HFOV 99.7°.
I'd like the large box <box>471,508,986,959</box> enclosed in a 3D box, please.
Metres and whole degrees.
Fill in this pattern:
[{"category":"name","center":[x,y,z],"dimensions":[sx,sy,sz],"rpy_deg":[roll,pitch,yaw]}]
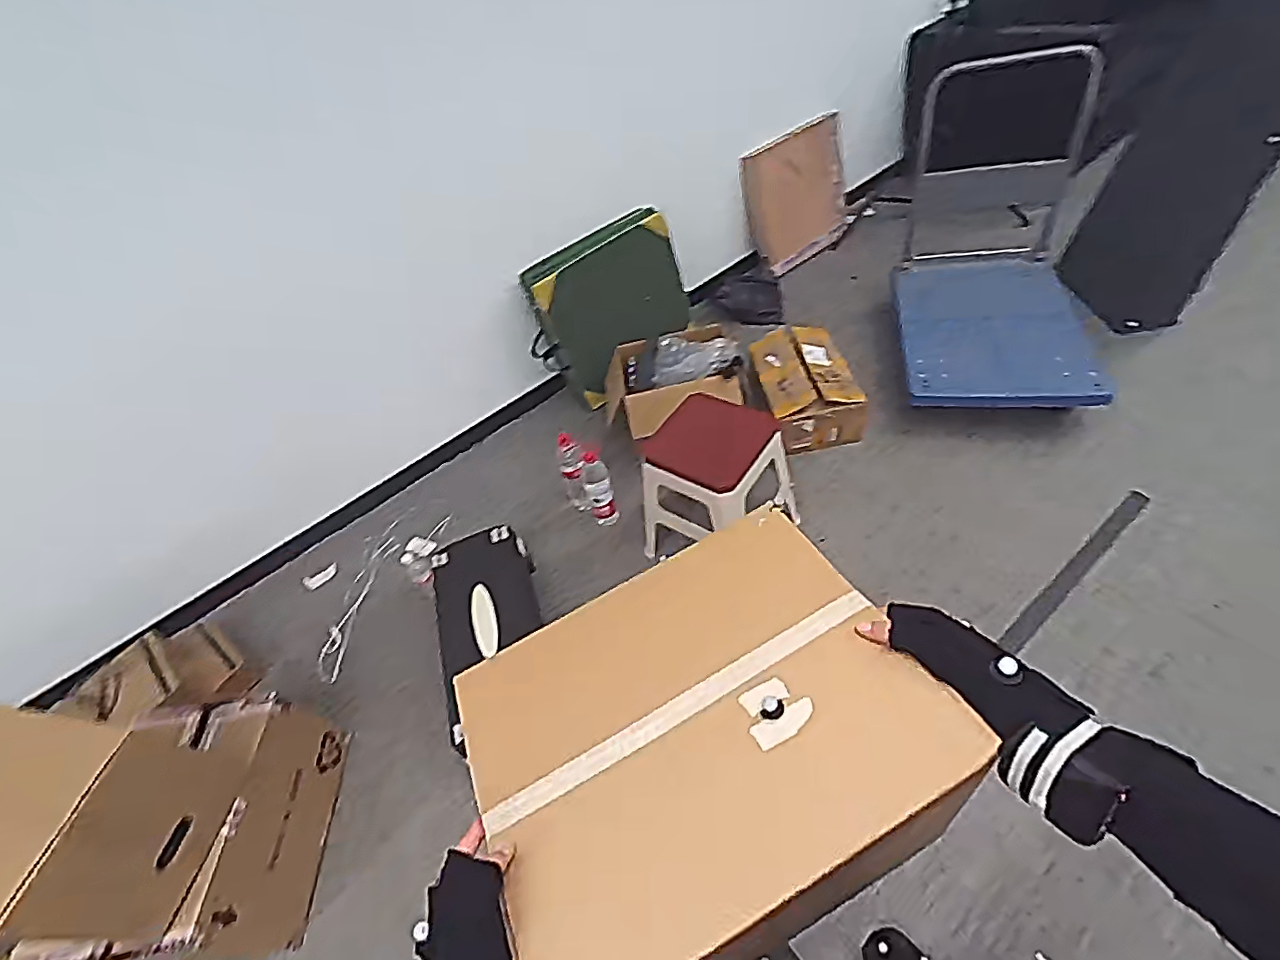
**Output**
[{"category":"large box","center":[0.084,0.312,0.614],"dimensions":[0.408,0.320,0.320],"rpy_deg":[-28,45,-7]}]
